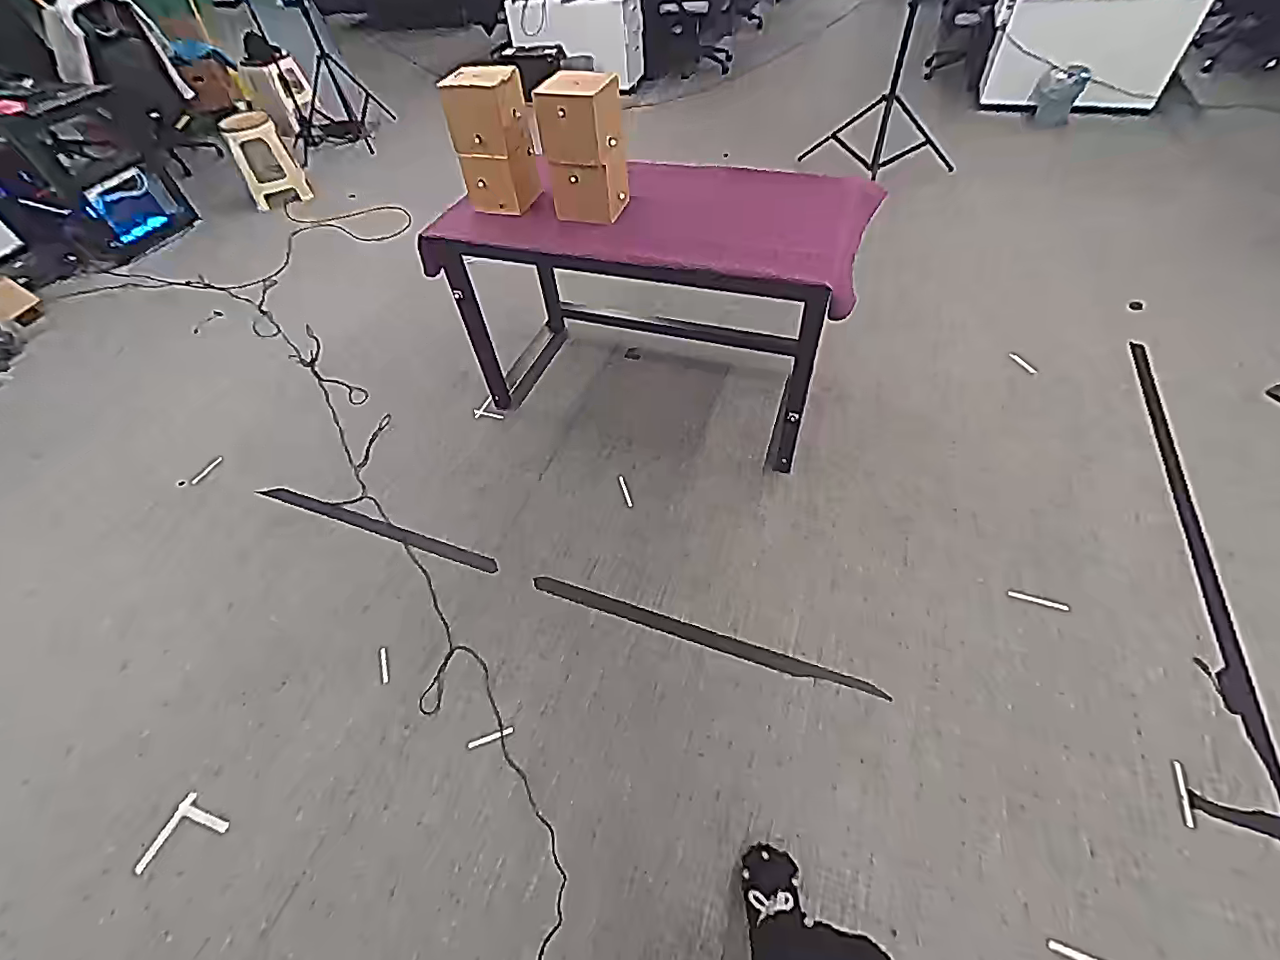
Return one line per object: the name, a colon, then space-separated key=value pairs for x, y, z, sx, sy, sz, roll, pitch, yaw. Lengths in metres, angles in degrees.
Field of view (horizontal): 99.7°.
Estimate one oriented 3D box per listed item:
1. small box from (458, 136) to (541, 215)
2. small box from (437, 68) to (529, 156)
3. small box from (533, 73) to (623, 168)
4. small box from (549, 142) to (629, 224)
small box: x=-0.420 y=-0.932 z=1.656 sx=0.168 sy=0.176 sz=0.179 roll=11 pitch=52 yaw=13
small box: x=-0.434 y=-1.042 z=1.535 sx=0.179 sy=0.176 sz=0.168 roll=10 pitch=52 yaw=12
small box: x=-0.159 y=-0.961 z=1.447 sx=0.179 sy=0.176 sz=0.168 roll=15 pitch=55 yaw=15
small box: x=-0.142 y=-0.870 z=1.580 sx=0.179 sy=0.176 sz=0.168 roll=13 pitch=53 yaw=14
